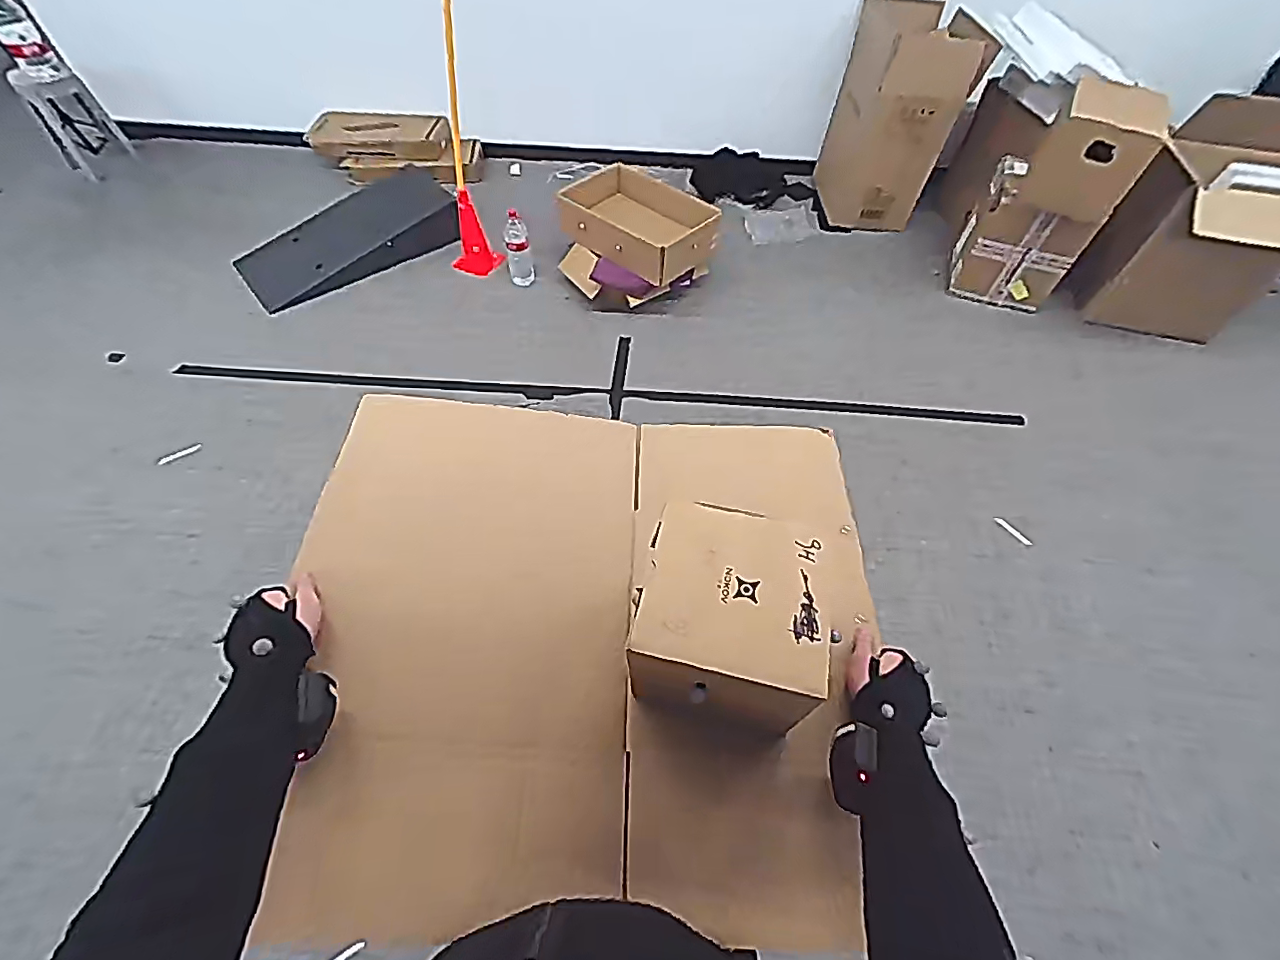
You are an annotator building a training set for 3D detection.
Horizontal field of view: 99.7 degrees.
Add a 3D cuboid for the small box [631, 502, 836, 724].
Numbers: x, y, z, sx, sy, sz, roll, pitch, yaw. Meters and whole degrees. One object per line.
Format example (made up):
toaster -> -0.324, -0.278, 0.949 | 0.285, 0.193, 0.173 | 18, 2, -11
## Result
small box -> 0.098, 0.147, 0.581 | 0.179, 0.176, 0.168 | 10, 57, 10
